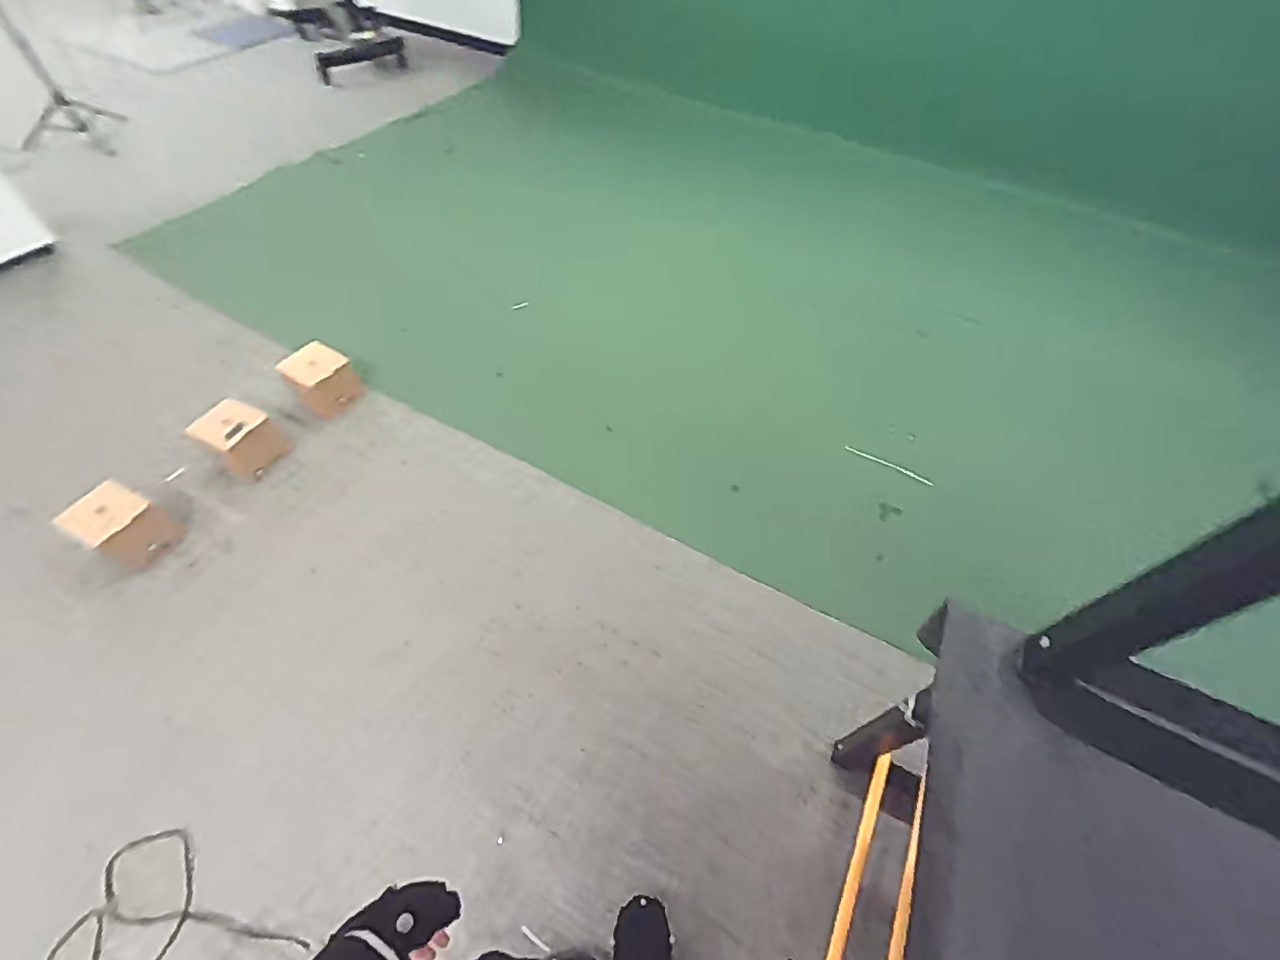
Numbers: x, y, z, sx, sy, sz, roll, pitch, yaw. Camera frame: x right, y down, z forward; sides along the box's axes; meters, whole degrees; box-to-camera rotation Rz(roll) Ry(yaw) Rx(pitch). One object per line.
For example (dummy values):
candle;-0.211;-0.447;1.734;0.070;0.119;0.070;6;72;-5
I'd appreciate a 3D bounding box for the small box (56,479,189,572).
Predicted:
small box;-1.448;0.132;1.525;0.179;0.176;0.168;25;57;12

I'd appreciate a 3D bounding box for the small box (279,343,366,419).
small box;-1.113;-0.345;1.910;0.179;0.176;0.168;27;57;14

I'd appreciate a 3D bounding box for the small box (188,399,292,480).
small box;-1.269;-0.124;1.732;0.179;0.176;0.168;22;55;12
